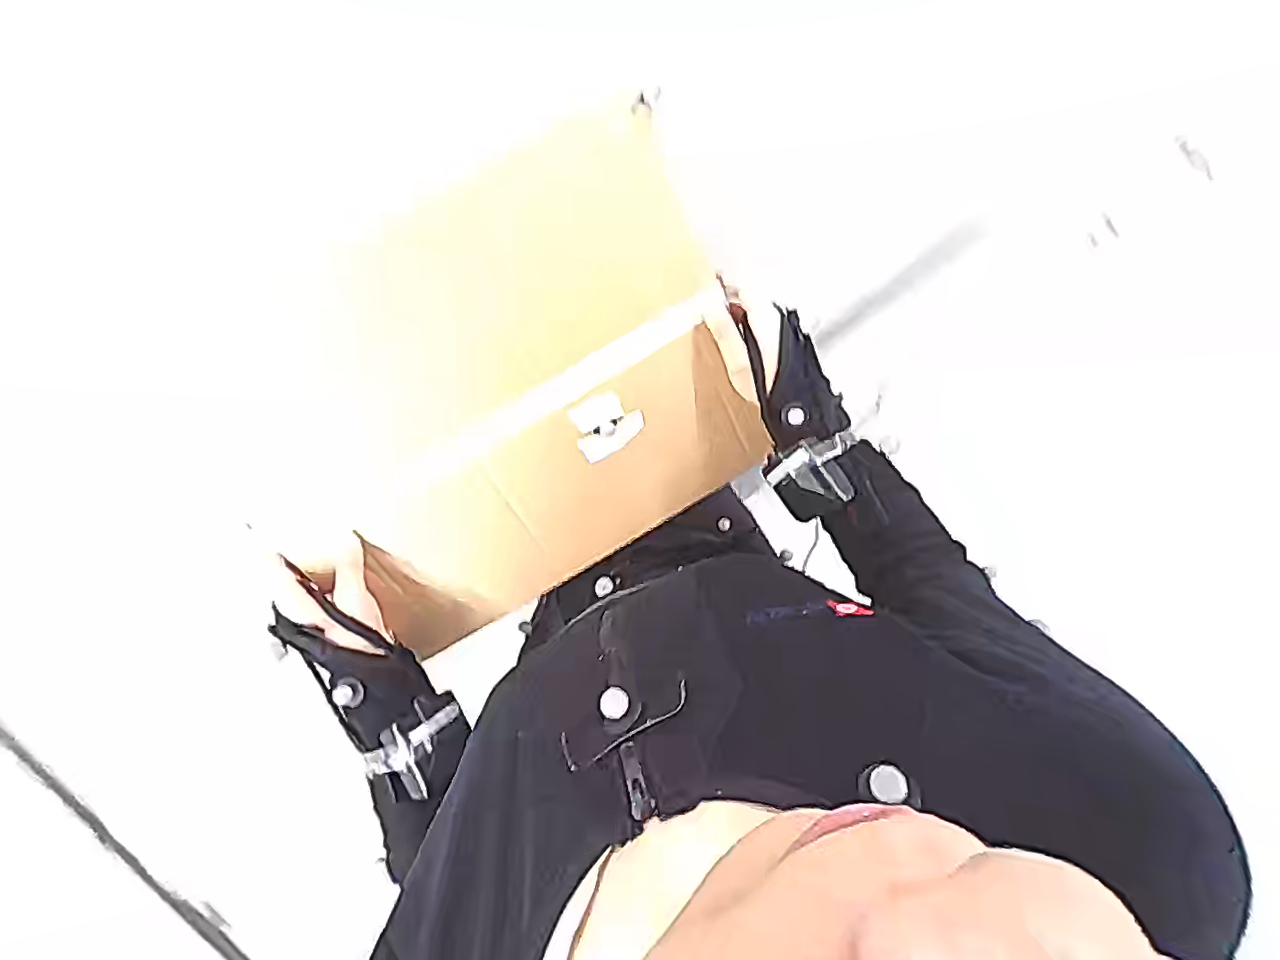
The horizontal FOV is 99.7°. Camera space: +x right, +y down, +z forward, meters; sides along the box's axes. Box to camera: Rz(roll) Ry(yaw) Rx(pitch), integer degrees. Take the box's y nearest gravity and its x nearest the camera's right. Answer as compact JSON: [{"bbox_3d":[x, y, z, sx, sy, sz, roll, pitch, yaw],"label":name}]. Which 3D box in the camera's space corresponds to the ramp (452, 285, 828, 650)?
[{"bbox_3d":[0.050,-0.068,1.462,0.991,0.206,0.509,-41,96,-4],"label":"ramp"}]
